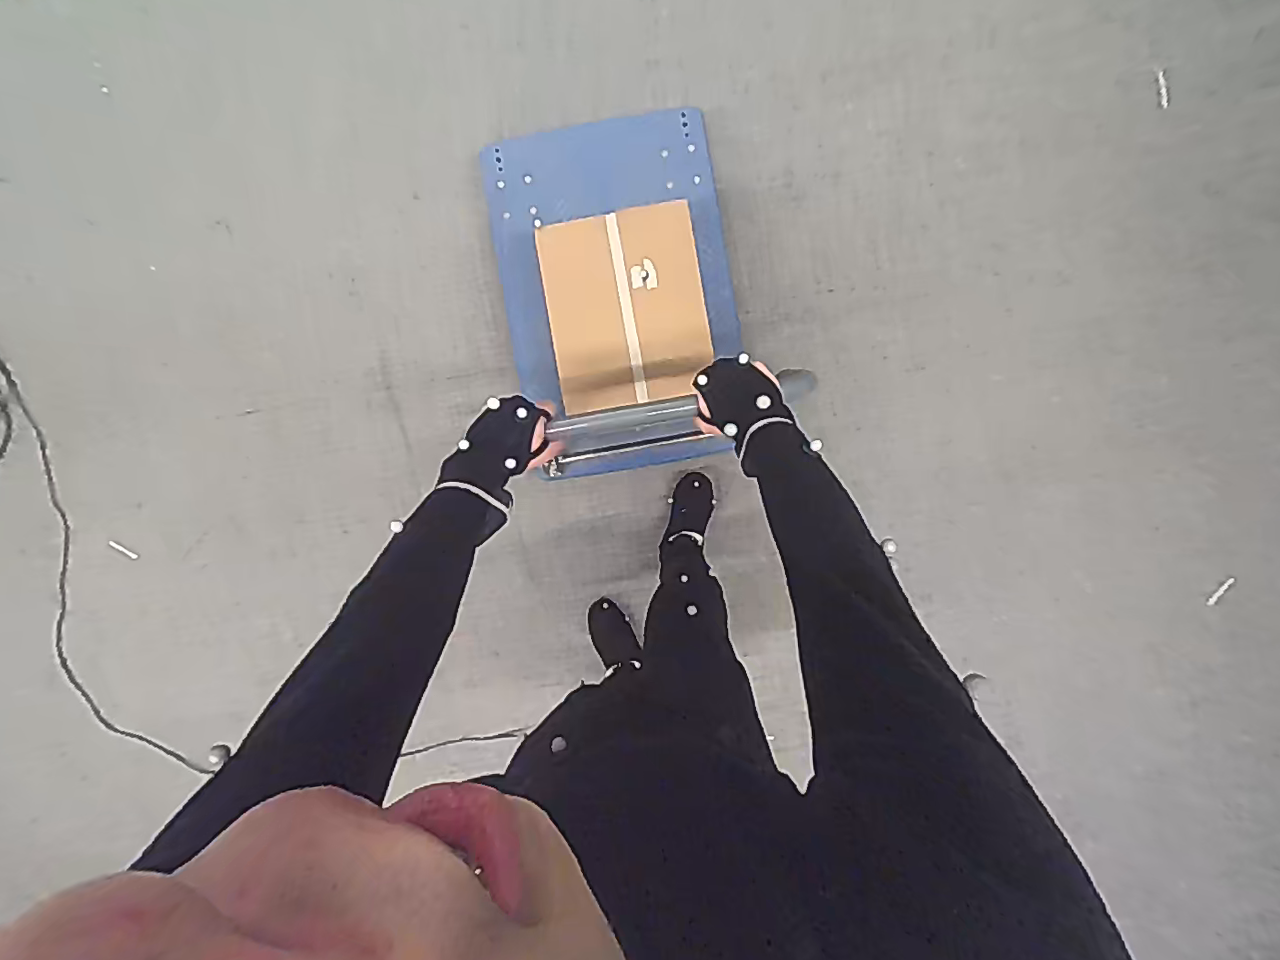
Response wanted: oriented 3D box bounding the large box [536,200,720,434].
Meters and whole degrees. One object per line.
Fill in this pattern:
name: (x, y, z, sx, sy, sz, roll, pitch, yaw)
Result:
large box: (-0.019, -0.337, 1.227, 0.320, 0.320, 0.408, -10, 90, 1)
